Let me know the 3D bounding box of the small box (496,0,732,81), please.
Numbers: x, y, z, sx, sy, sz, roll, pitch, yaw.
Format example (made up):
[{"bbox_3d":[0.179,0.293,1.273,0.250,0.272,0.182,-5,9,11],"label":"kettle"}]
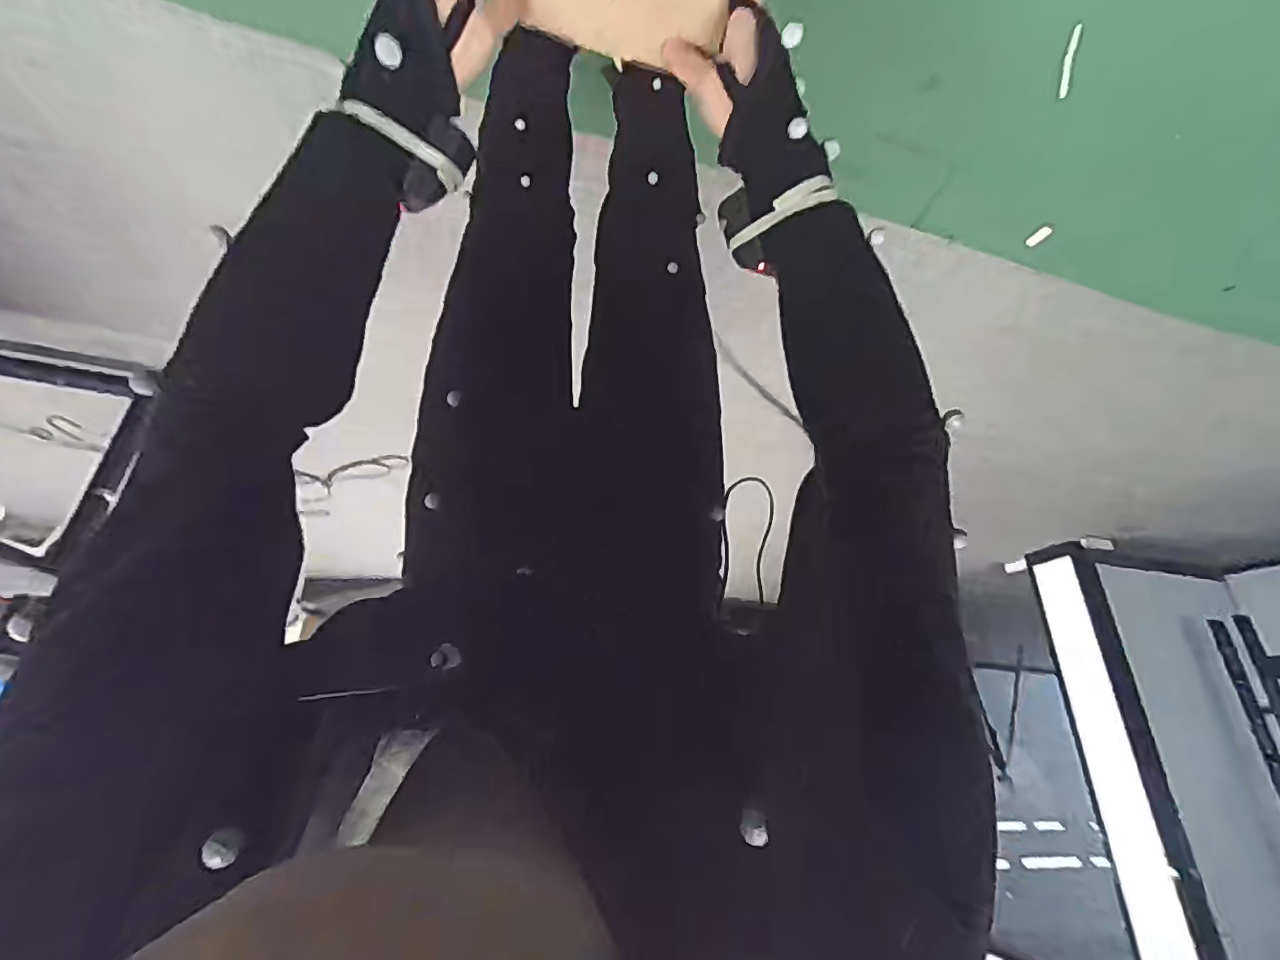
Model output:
[{"bbox_3d":[-0.006,-0.437,0.382,0.168,0.176,0.179,8,144,-15],"label":"small box"}]
